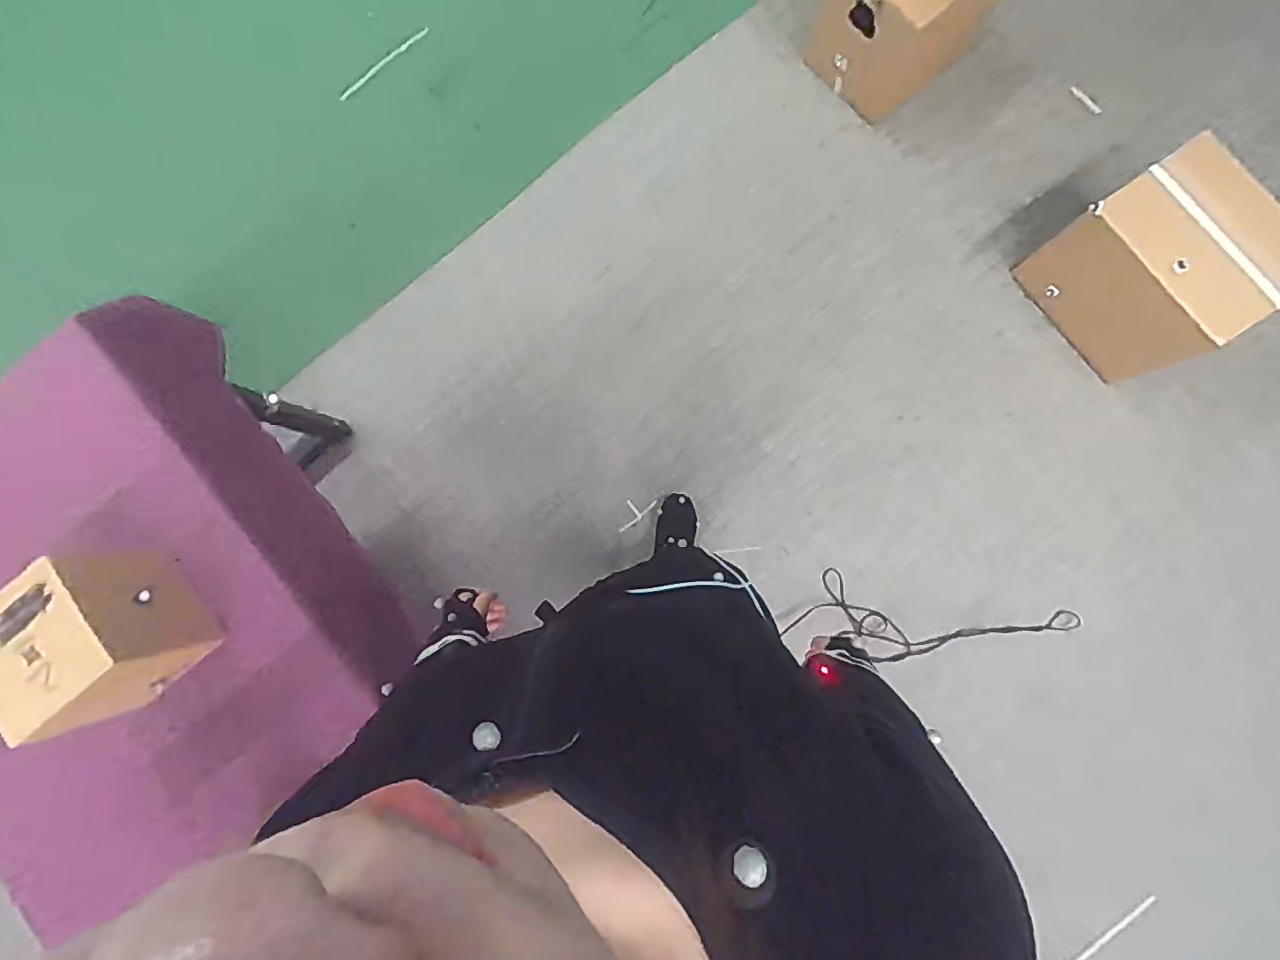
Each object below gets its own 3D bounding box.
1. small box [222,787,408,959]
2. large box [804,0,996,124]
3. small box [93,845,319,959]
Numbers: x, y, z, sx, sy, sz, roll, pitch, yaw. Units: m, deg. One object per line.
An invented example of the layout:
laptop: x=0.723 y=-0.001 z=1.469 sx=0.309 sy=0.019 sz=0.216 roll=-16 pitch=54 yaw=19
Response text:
small box: x=-0.444 y=0.533 z=0.694 sx=0.168 sy=0.176 sz=0.179 roll=-41 pitch=84 yaw=0
large box: x=0.721 y=-1.291 z=1.458 sx=0.408 sy=0.320 sz=0.320 roll=-40 pitch=83 yaw=-2
small box: x=-0.460 y=0.517 z=0.533 sx=0.179 sy=0.176 sz=0.168 roll=-40 pitch=83 yaw=1
